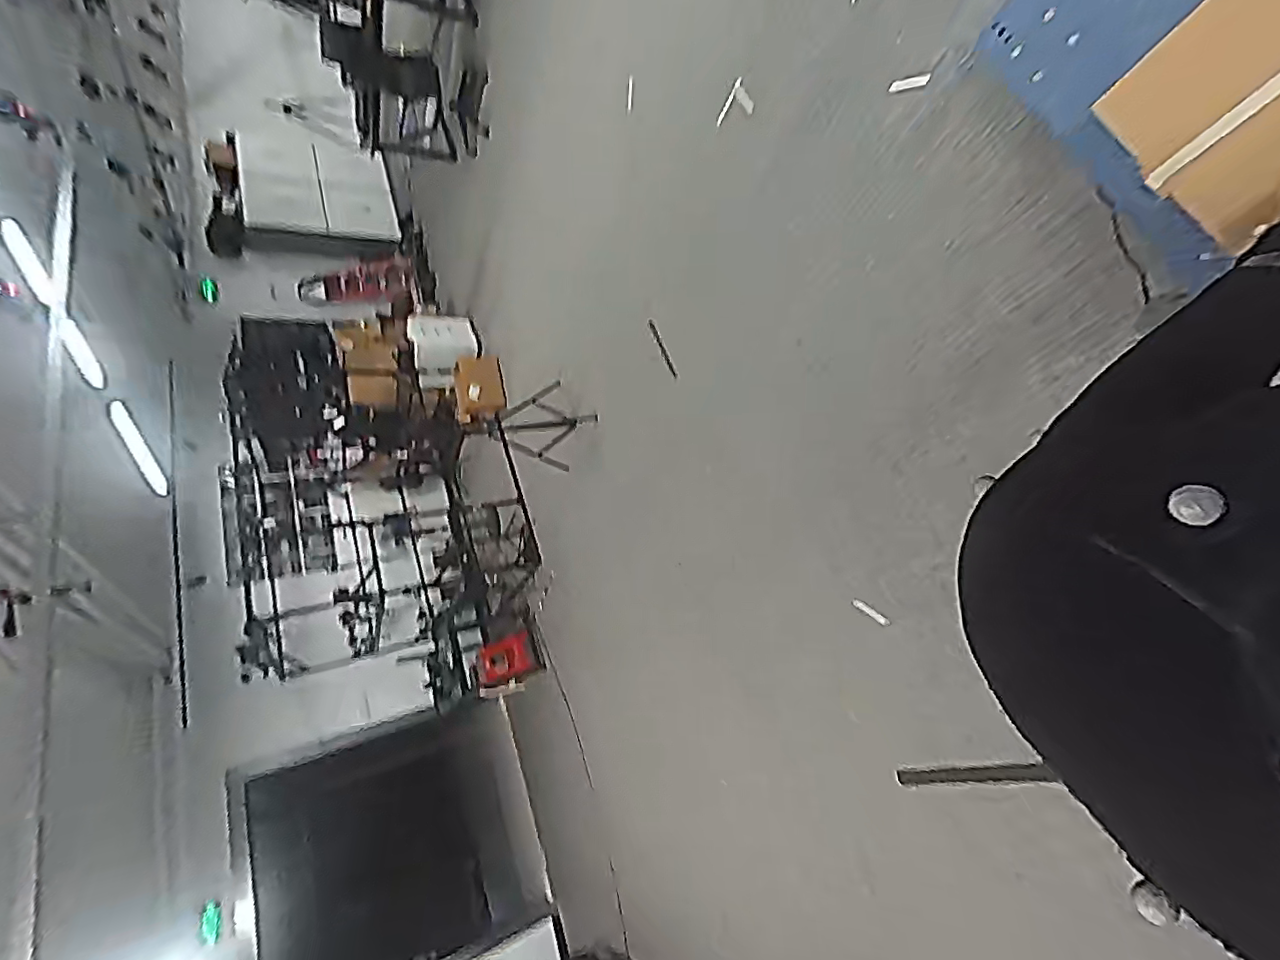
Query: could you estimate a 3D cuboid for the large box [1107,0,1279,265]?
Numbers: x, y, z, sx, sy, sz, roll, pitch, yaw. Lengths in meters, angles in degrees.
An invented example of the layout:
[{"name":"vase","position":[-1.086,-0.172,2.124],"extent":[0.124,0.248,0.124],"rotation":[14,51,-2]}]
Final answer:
[{"name":"large box","position":[0.950,-0.533,0.680],"extent":[0.408,0.320,0.320],"rotation":[-47,58,52]}]
